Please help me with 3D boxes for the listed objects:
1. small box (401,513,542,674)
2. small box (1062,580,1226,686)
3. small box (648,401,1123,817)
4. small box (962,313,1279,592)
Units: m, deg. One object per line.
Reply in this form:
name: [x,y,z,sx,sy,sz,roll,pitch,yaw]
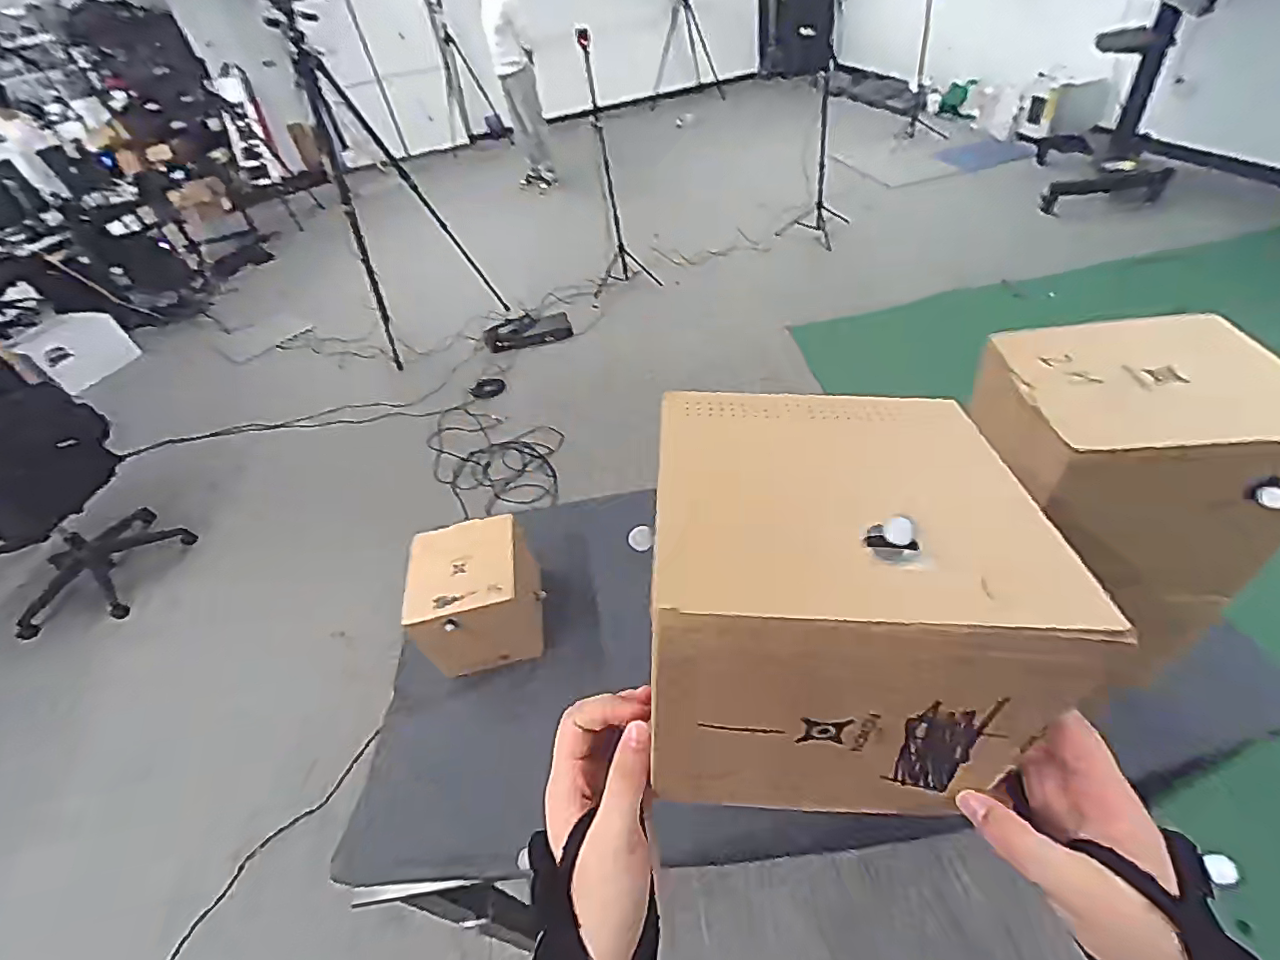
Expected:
small box: [-0.263,0.185,0.884,0.168,0.176,0.179,-13,44,-1]
small box: [0.420,0.103,0.569,0.179,0.176,0.168,-4,42,11]
small box: [0.095,0.066,0.310,0.179,0.168,0.176,2,38,4]
small box: [0.394,-0.019,0.460,0.179,0.176,0.168,-3,42,12]
